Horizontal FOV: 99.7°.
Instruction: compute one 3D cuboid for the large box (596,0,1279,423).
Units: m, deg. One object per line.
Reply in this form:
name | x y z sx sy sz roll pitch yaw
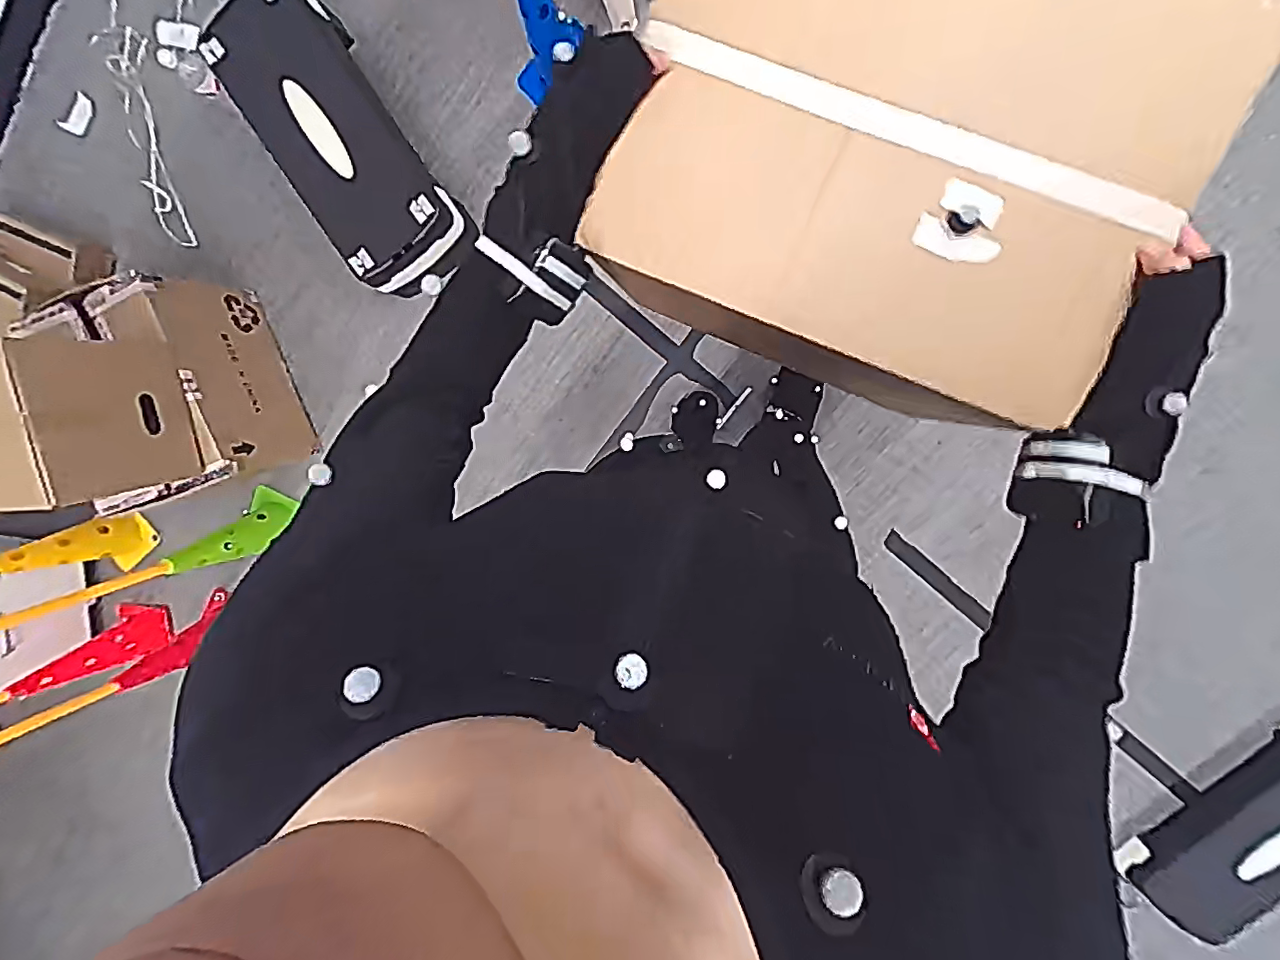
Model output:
large box | 0.218 -0.280 0.549 0.408 0.320 0.320 25 102 4
